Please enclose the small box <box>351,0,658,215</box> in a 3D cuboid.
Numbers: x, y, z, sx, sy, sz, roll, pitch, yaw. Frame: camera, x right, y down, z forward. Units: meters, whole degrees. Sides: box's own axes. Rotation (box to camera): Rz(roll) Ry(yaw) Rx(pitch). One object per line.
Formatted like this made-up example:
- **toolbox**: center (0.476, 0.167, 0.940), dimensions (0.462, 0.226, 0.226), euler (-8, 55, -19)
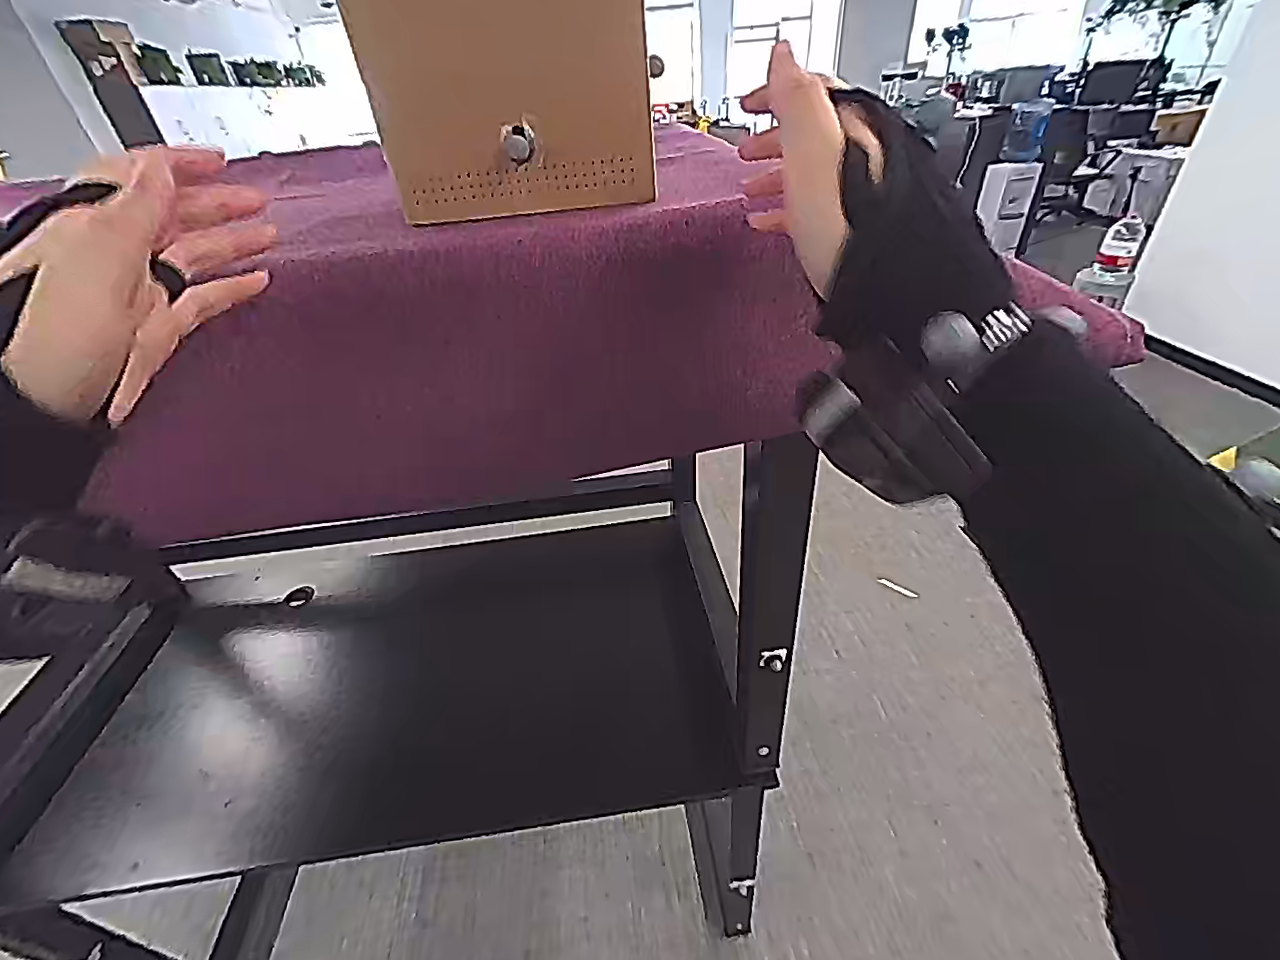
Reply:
- **small box**: center (-0.079, -0.300, 0.386), dimensions (0.179, 0.176, 0.168), euler (-5, 35, 1)
